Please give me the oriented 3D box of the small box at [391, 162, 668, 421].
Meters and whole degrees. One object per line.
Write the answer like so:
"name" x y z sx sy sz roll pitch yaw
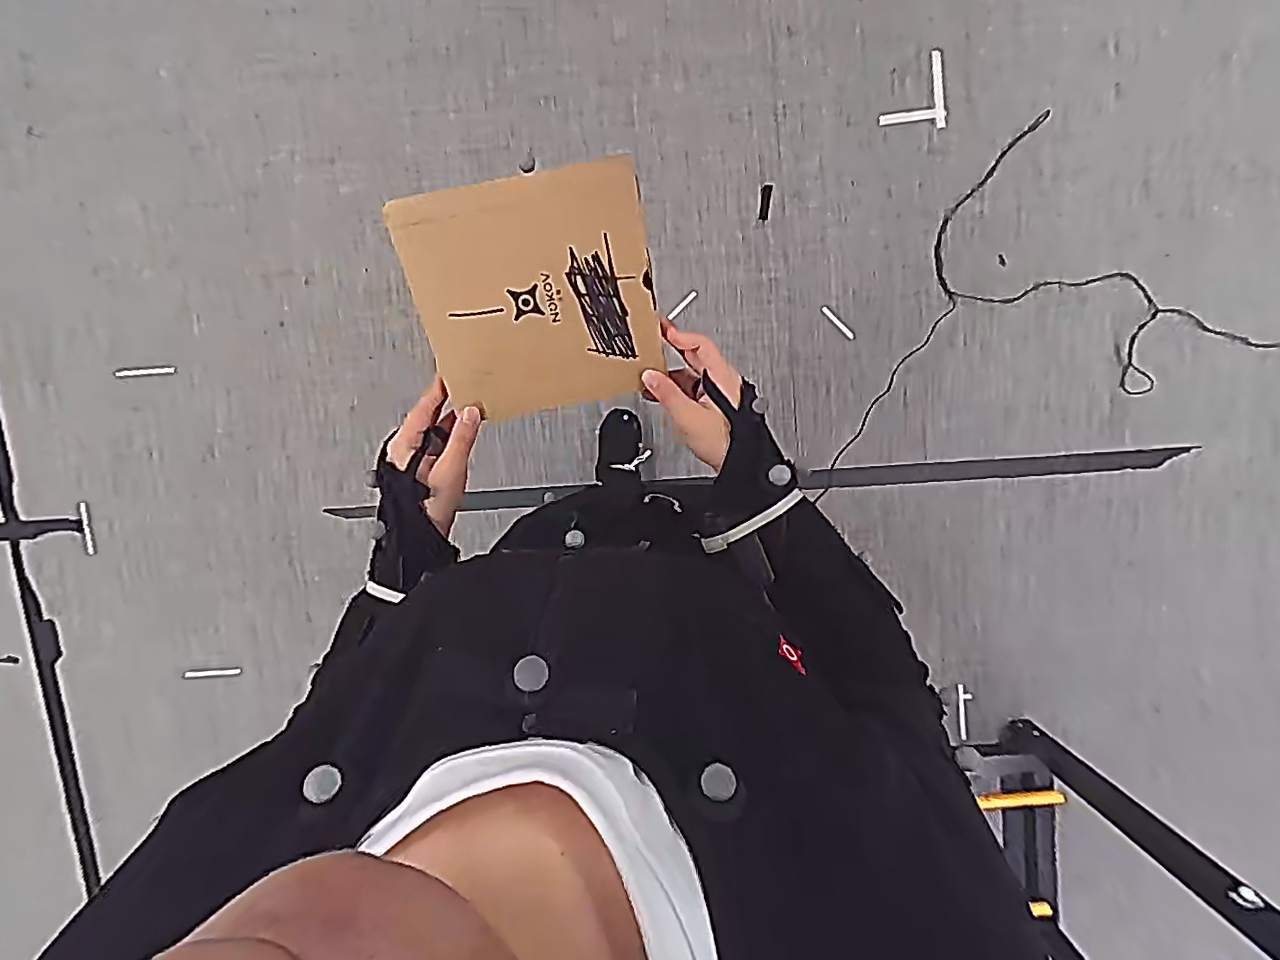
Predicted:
"small box" -0.081 -0.170 0.476 0.179 0.176 0.168 -10 117 1
